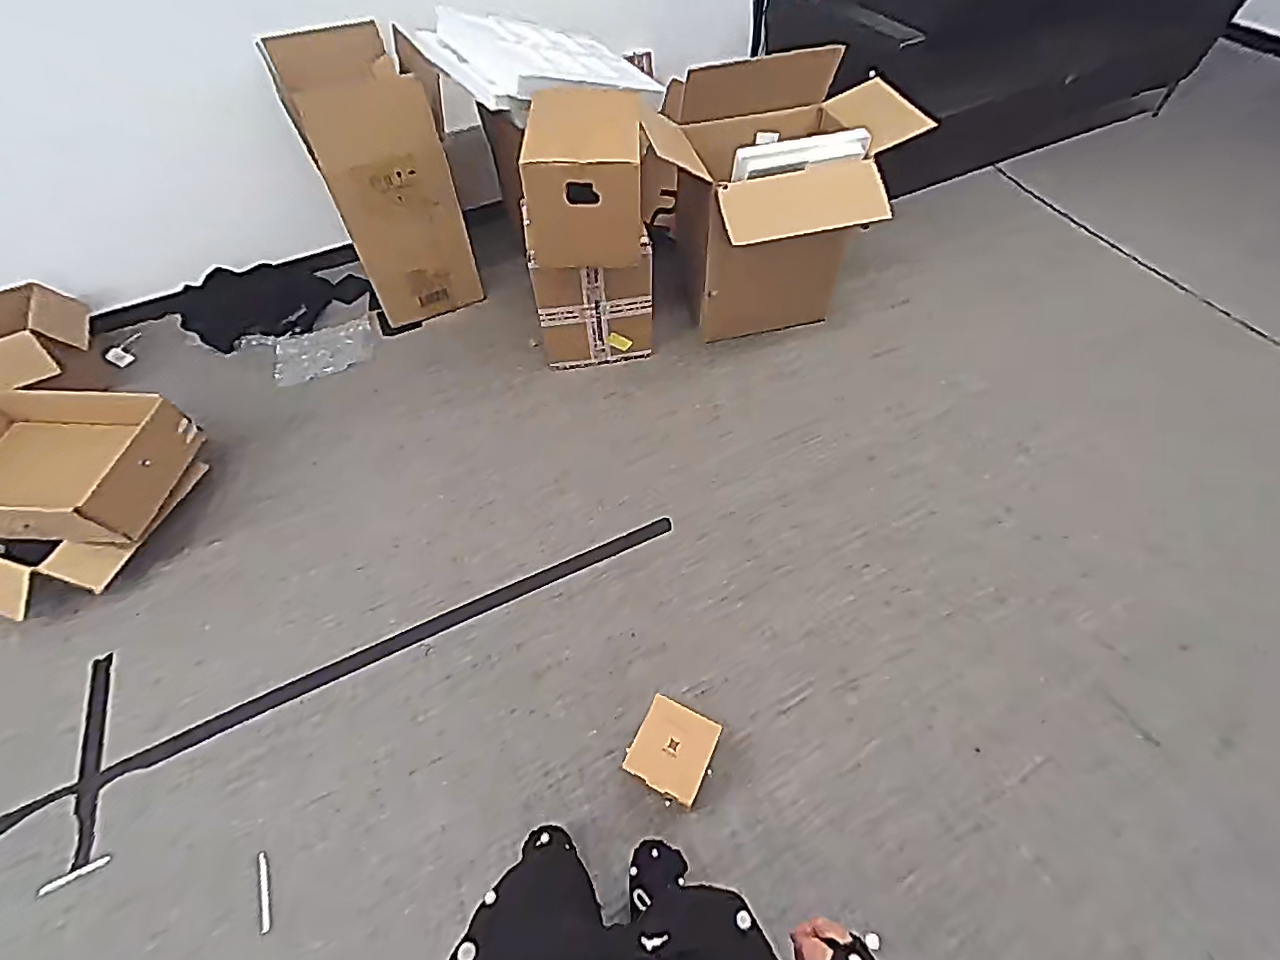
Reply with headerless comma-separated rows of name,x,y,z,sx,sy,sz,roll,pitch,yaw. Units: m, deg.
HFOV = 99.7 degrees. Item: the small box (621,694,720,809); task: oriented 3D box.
small box,0.071,0.628,1.242,0.168,0.176,0.179,22,58,15
